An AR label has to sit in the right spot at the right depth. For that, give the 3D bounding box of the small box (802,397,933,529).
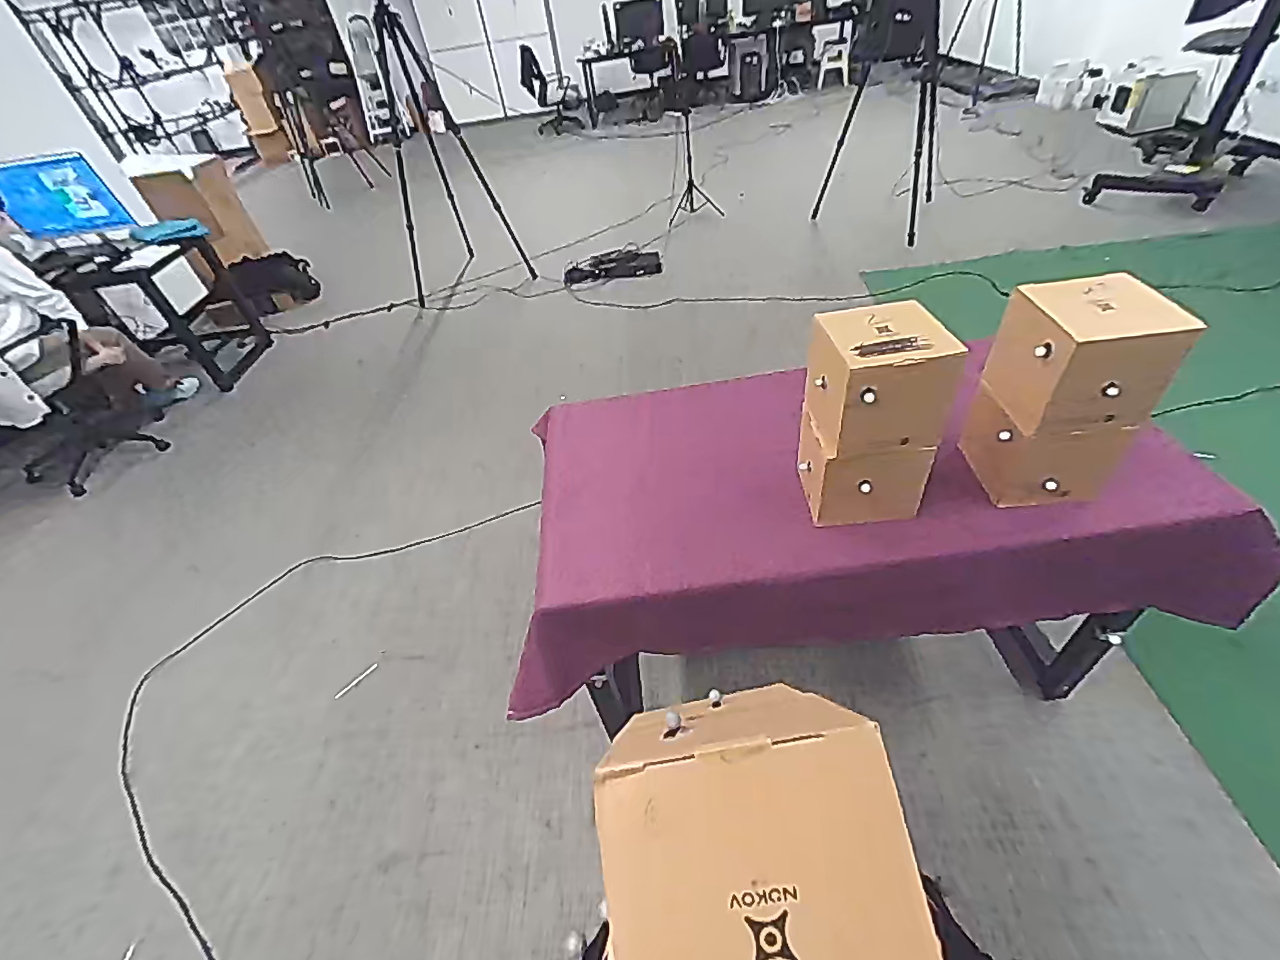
[{"bbox_3d":[0.395,-0.026,0.977,0.179,0.176,0.168,-6,42,6],"label":"small box"}]

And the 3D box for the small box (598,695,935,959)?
[{"bbox_3d":[0.073,0.249,0.365,0.168,0.176,0.179,-10,73,3],"label":"small box"}]

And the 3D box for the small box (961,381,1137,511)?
[{"bbox_3d":[0.703,-0.066,0.960,0.168,0.176,0.179,-5,43,6],"label":"small box"}]

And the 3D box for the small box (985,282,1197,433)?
[{"bbox_3d":[0.683,-0.185,0.848,0.168,0.176,0.179,-5,43,5],"label":"small box"}]
